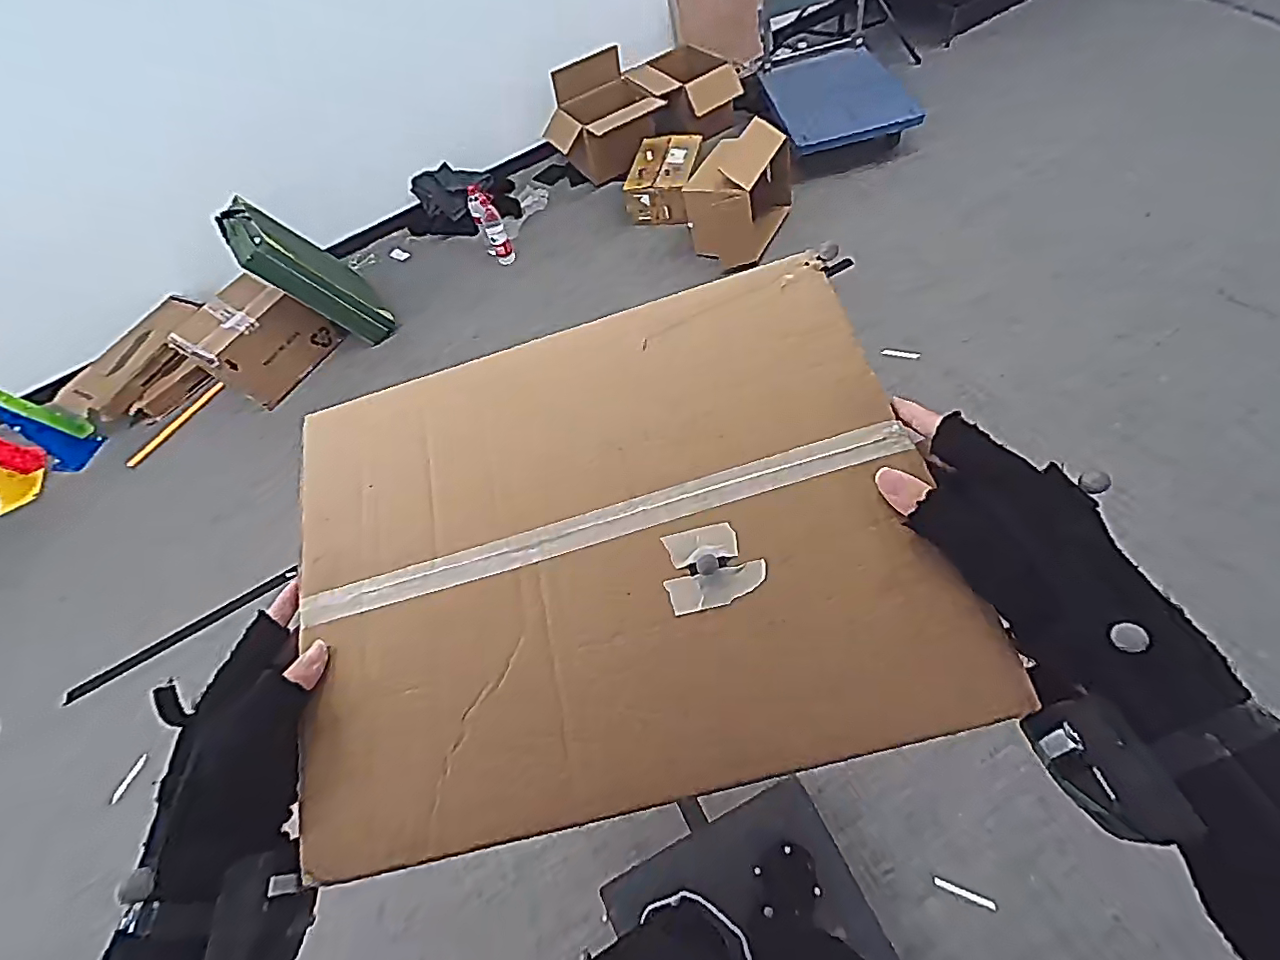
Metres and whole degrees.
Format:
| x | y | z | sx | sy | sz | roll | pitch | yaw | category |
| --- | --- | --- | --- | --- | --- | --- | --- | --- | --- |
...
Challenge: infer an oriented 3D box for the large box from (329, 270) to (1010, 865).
| x | y | z | sx | sy | sz | roll | pitch | yaw | category |
| --- | --- | --- | --- | --- | --- | --- | --- | --- | --- |
| 0.001 | 0.088 | 0.496 | 0.408 | 0.320 | 0.320 | -16 | 68 | 4 | large box |
